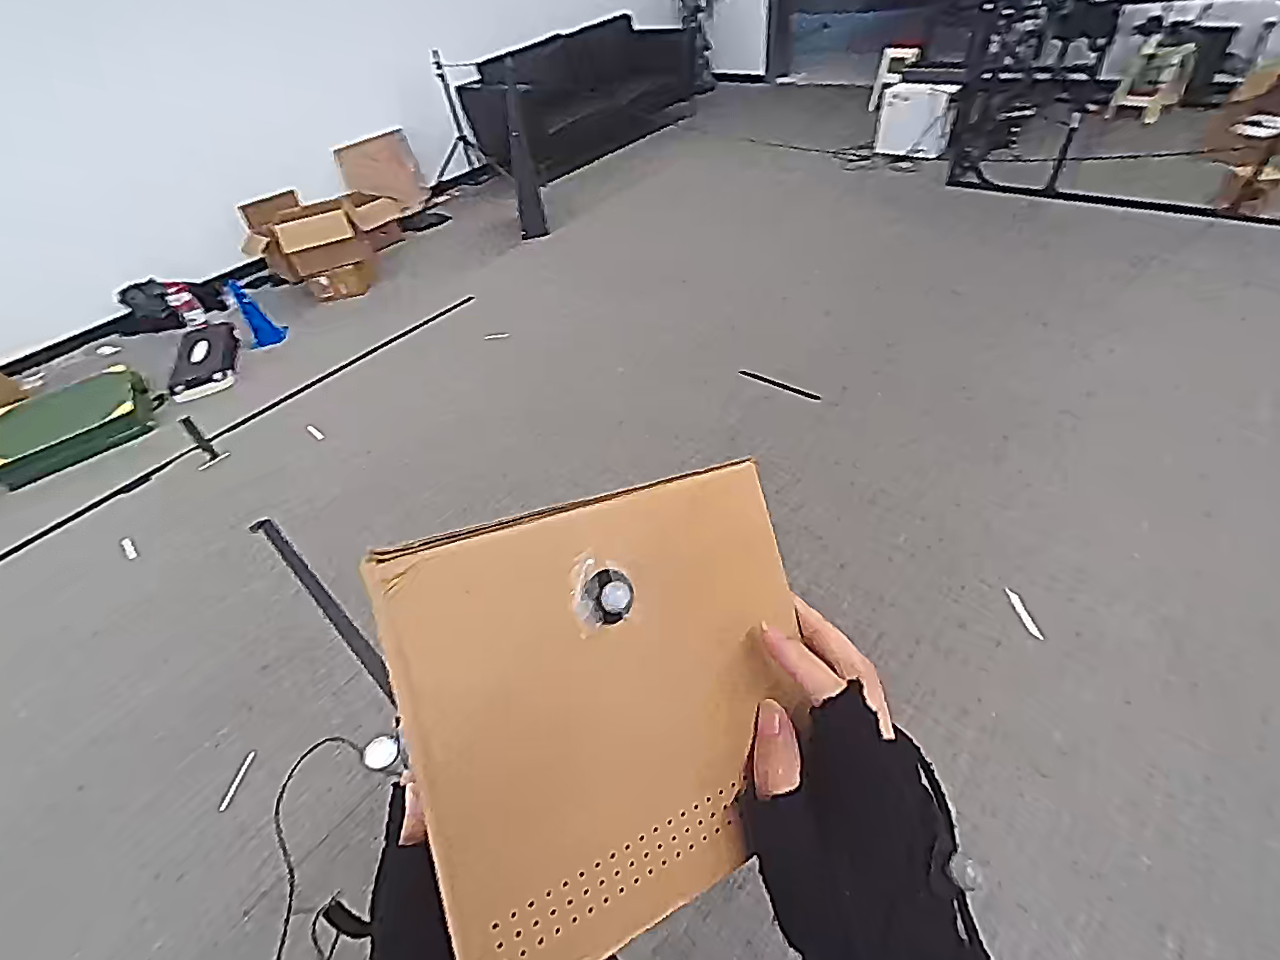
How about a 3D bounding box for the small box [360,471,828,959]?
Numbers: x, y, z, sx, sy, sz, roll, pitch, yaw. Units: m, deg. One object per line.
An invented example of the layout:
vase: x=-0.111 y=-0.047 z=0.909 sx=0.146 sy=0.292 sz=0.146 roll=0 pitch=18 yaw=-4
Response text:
small box: x=-0.031 y=0.107 z=0.291 sx=0.179 sy=0.168 sz=0.176 roll=-14 pitch=87 yaw=-26
